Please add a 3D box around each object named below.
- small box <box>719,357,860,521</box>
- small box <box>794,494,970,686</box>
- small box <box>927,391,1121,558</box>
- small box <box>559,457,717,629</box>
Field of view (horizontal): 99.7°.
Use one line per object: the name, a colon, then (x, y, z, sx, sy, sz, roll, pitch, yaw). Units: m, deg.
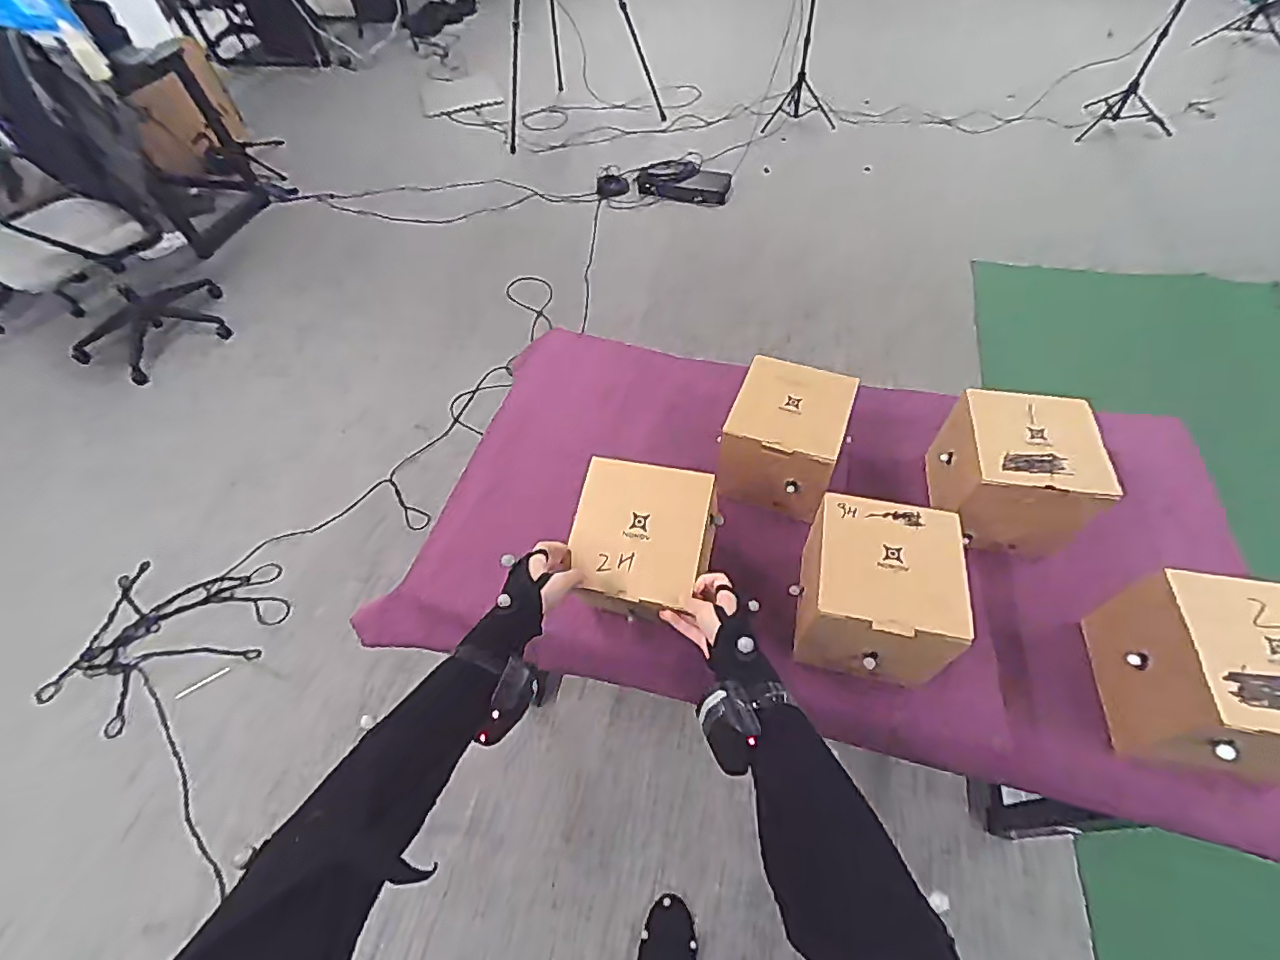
small box: (0.231, -0.061, 0.865, 0.168, 0.176, 0.179, 19, 57, 16)
small box: (0.302, 0.147, 0.704, 0.168, 0.176, 0.179, 10, 54, 11)
small box: (0.545, -0.004, 0.799, 0.168, 0.176, 0.179, 8, 54, 10)
small box: (0.010, 0.091, 0.740, 0.168, 0.176, 0.179, 9, 69, 14)
